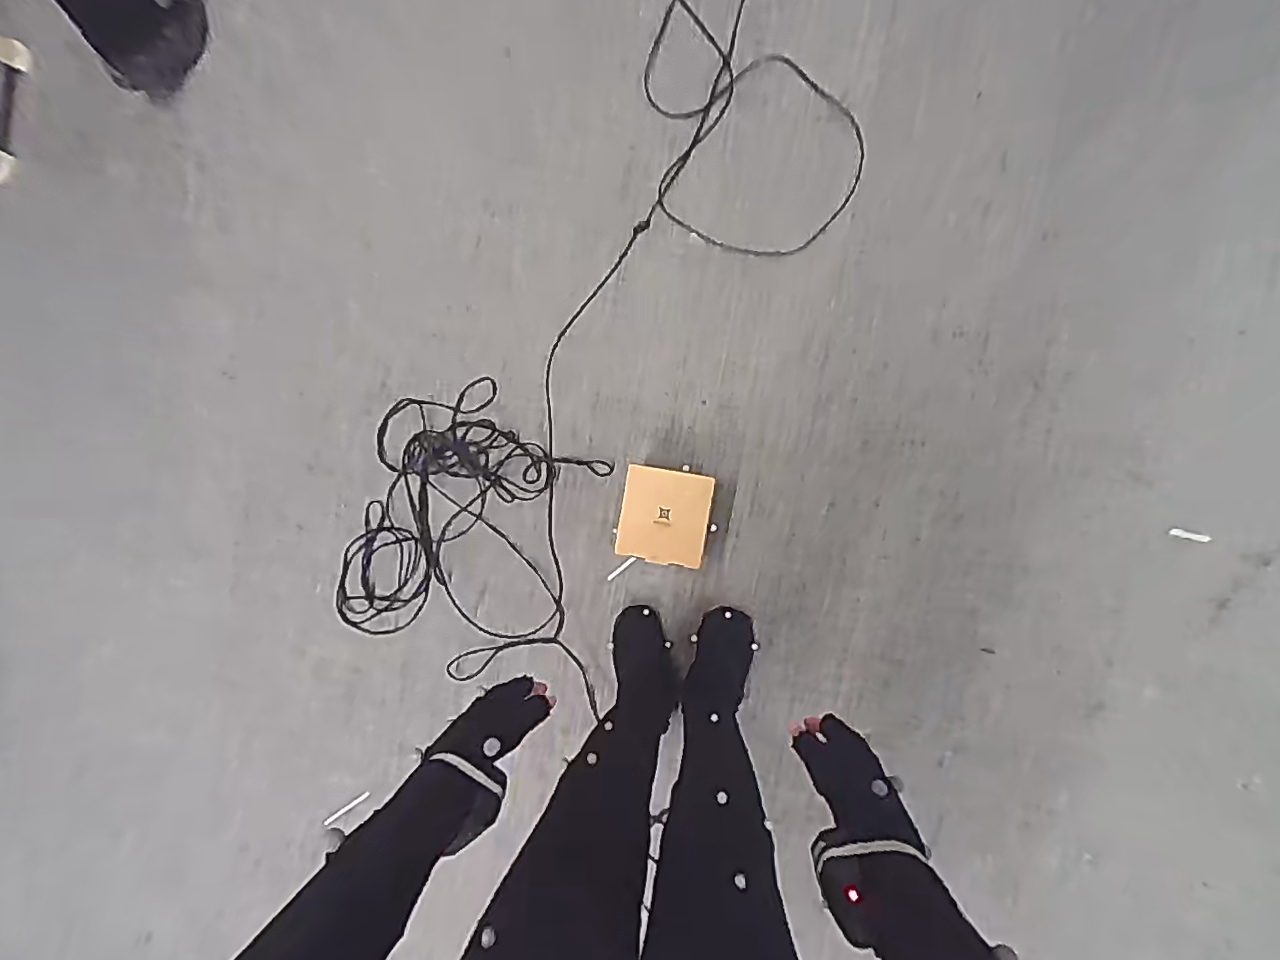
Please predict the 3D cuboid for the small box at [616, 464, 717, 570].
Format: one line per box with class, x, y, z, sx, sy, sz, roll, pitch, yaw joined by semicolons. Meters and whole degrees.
small box;0.059;0.066;1.083;0.168;0.176;0.179;9;93;9
